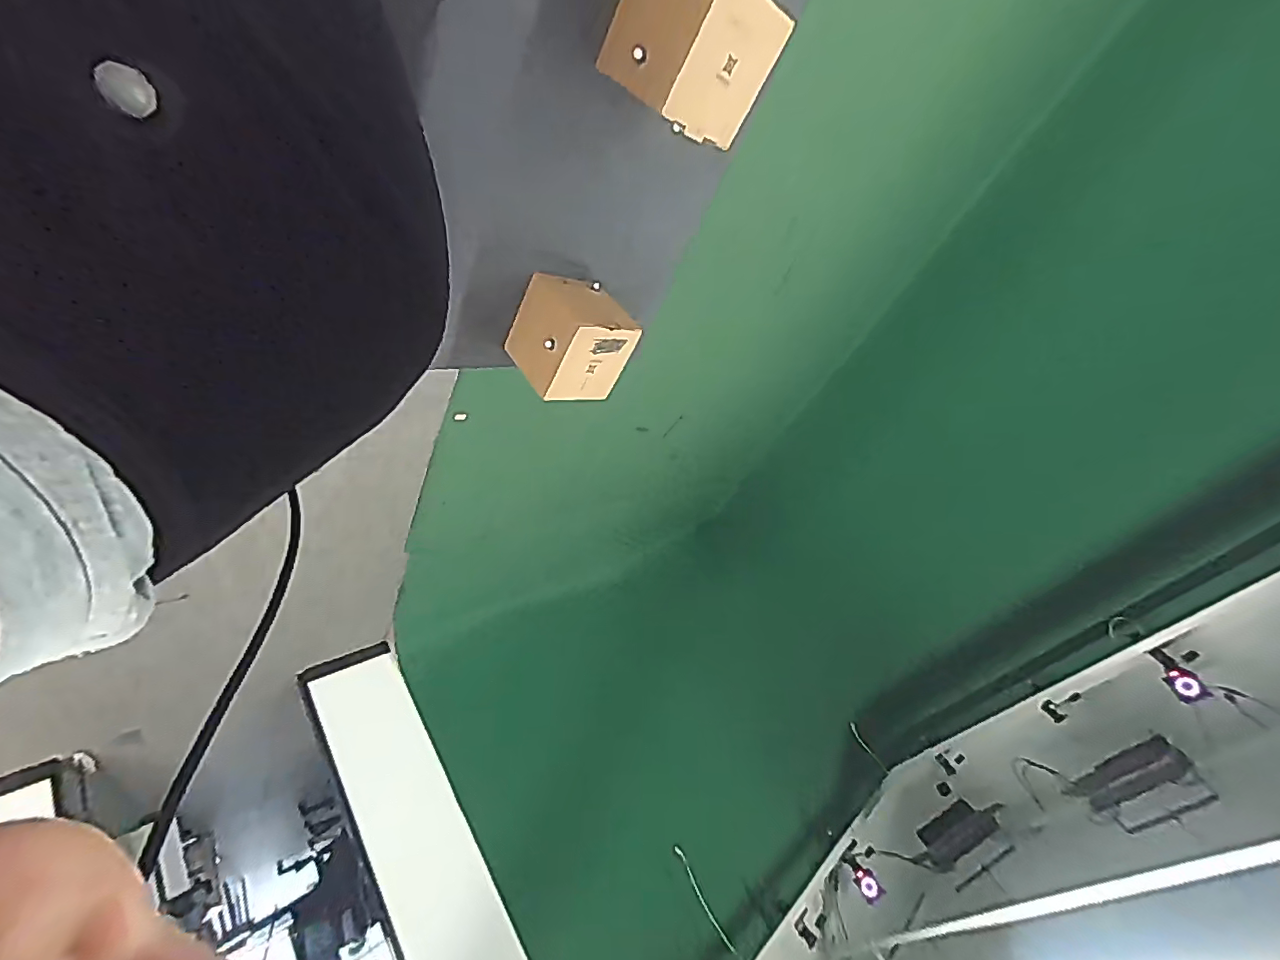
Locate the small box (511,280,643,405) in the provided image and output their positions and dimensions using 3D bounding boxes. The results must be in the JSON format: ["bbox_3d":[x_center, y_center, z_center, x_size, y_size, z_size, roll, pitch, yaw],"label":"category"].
[{"bbox_3d":[-0.132,-0.270,1.072,0.168,0.176,0.179,-10,143,-46],"label":"small box"}]

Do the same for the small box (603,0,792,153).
[{"bbox_3d":[0.072,-0.616,0.771,0.168,0.176,0.179,-13,144,-46],"label":"small box"}]
